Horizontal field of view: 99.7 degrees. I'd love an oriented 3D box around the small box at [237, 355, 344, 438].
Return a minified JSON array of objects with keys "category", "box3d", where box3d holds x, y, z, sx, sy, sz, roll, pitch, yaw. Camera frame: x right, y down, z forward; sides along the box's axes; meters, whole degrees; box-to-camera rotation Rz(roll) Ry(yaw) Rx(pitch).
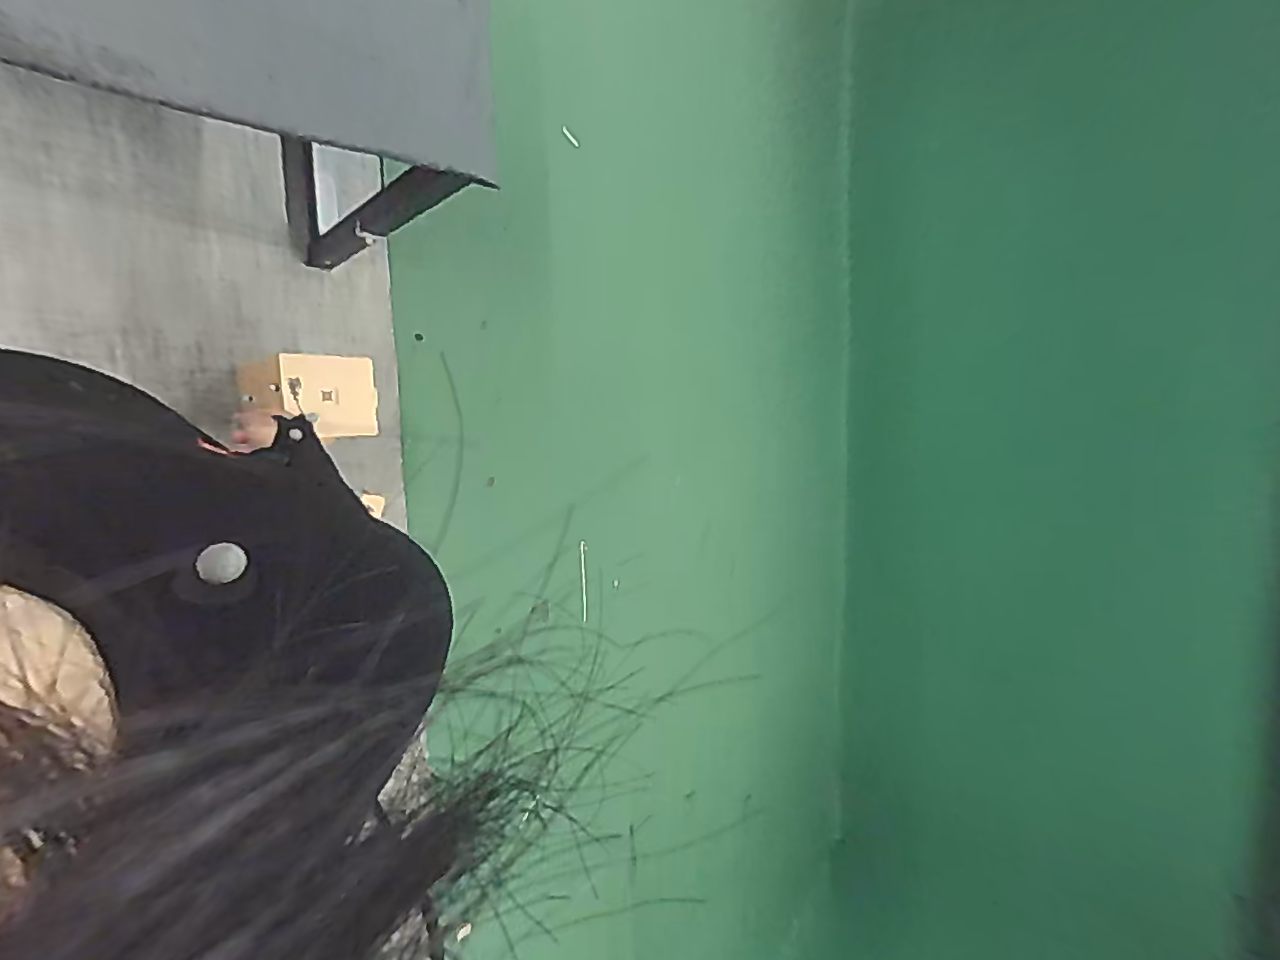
[{"category":"small box","box3d":[-0.806,-0.189,1.246,0.168,0.176,0.179,-10,100,-47]}]
